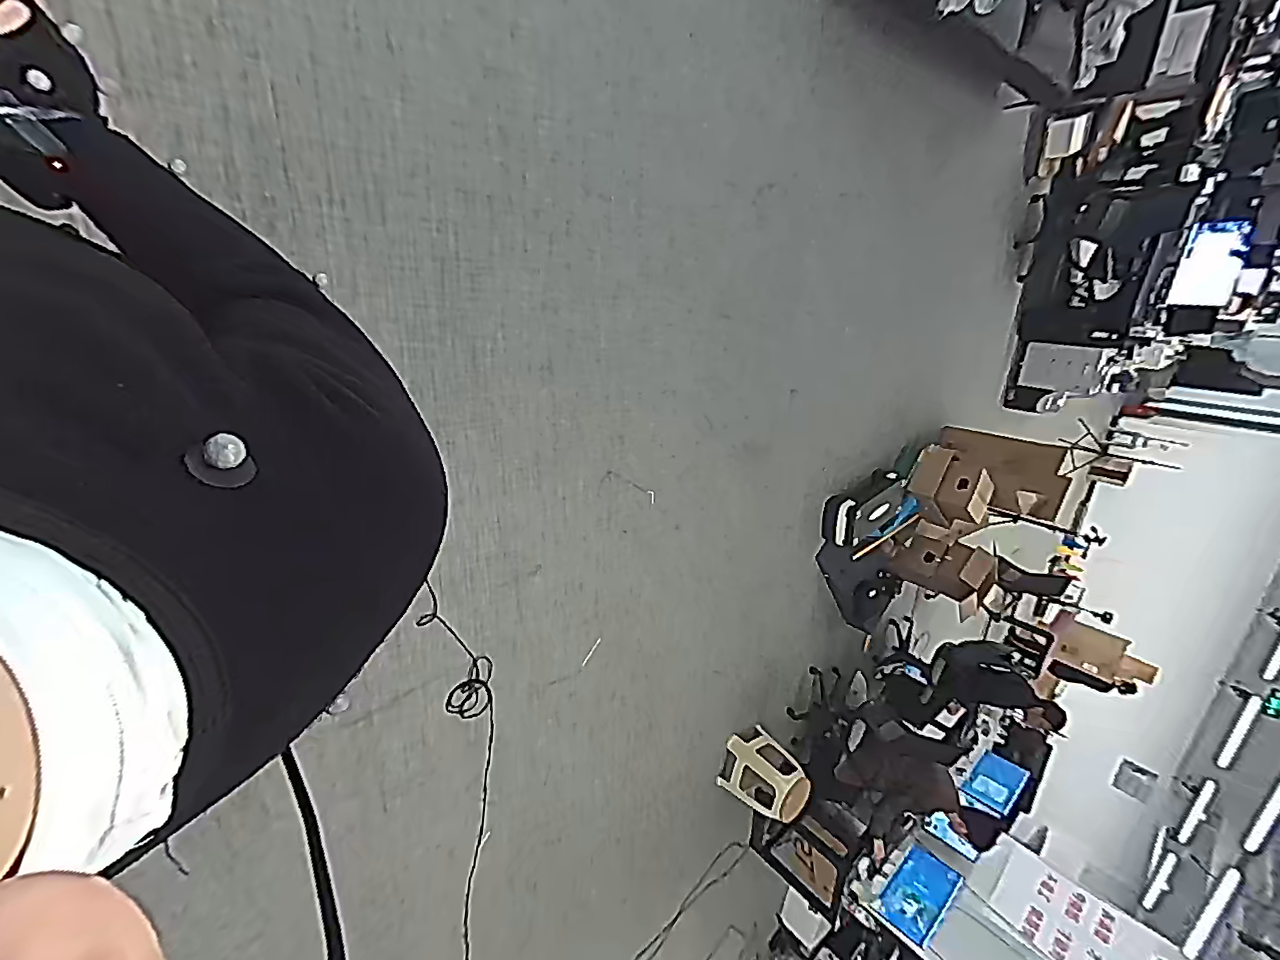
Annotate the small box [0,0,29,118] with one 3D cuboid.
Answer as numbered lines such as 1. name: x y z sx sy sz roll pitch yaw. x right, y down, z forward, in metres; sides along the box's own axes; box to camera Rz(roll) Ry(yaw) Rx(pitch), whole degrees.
1. small box: -0.626 -0.414 0.422 0.179 0.176 0.168 -15 107 -42
